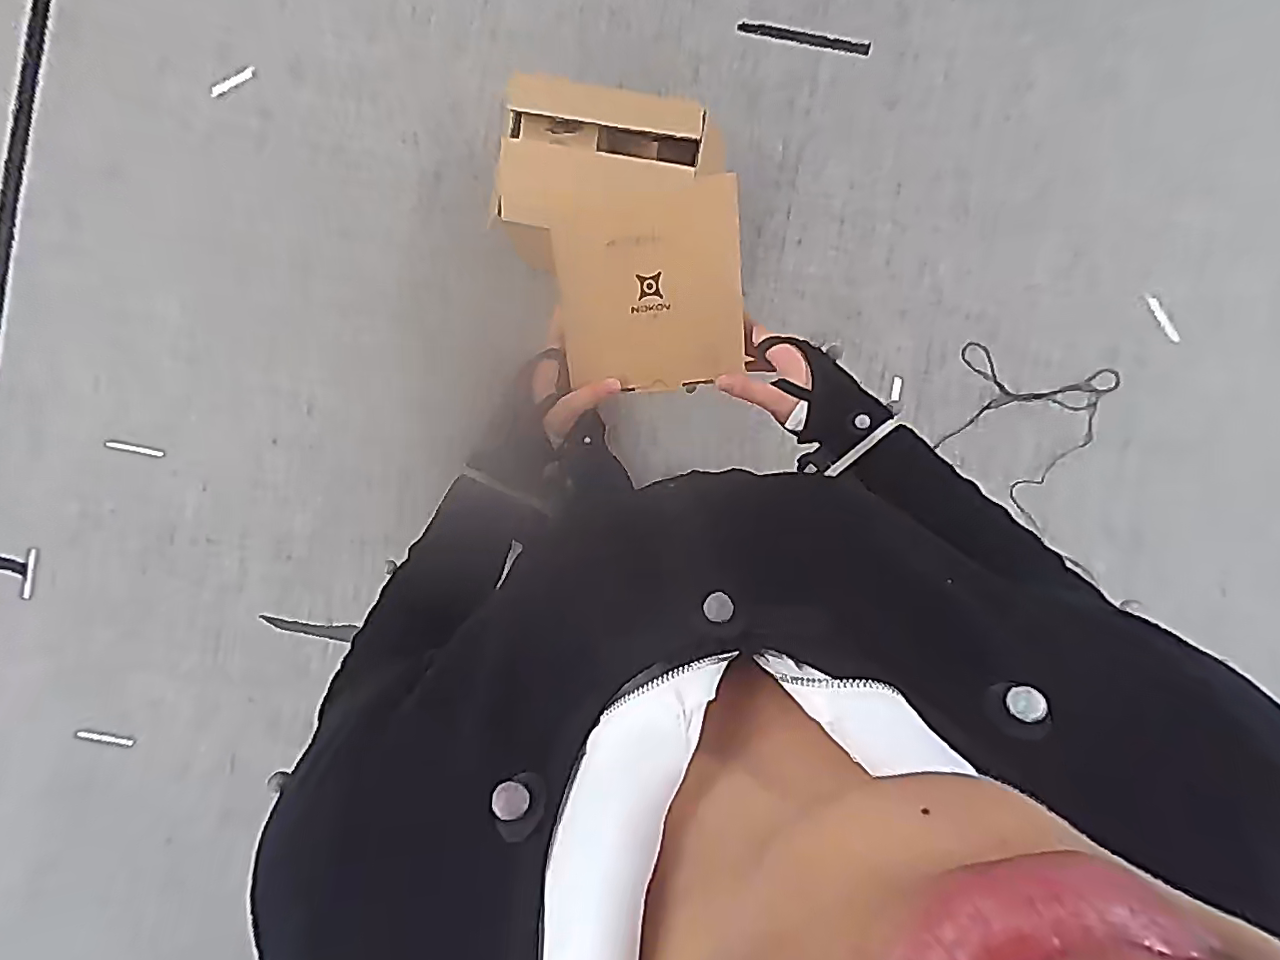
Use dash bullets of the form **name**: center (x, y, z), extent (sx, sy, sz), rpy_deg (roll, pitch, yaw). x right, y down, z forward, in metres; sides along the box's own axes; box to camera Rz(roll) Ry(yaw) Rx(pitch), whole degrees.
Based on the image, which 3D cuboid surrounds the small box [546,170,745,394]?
- **small box**: center (0.009, -0.191, 0.552), extent (0.168, 0.176, 0.179), rpy_deg (-6, 105, 0)
